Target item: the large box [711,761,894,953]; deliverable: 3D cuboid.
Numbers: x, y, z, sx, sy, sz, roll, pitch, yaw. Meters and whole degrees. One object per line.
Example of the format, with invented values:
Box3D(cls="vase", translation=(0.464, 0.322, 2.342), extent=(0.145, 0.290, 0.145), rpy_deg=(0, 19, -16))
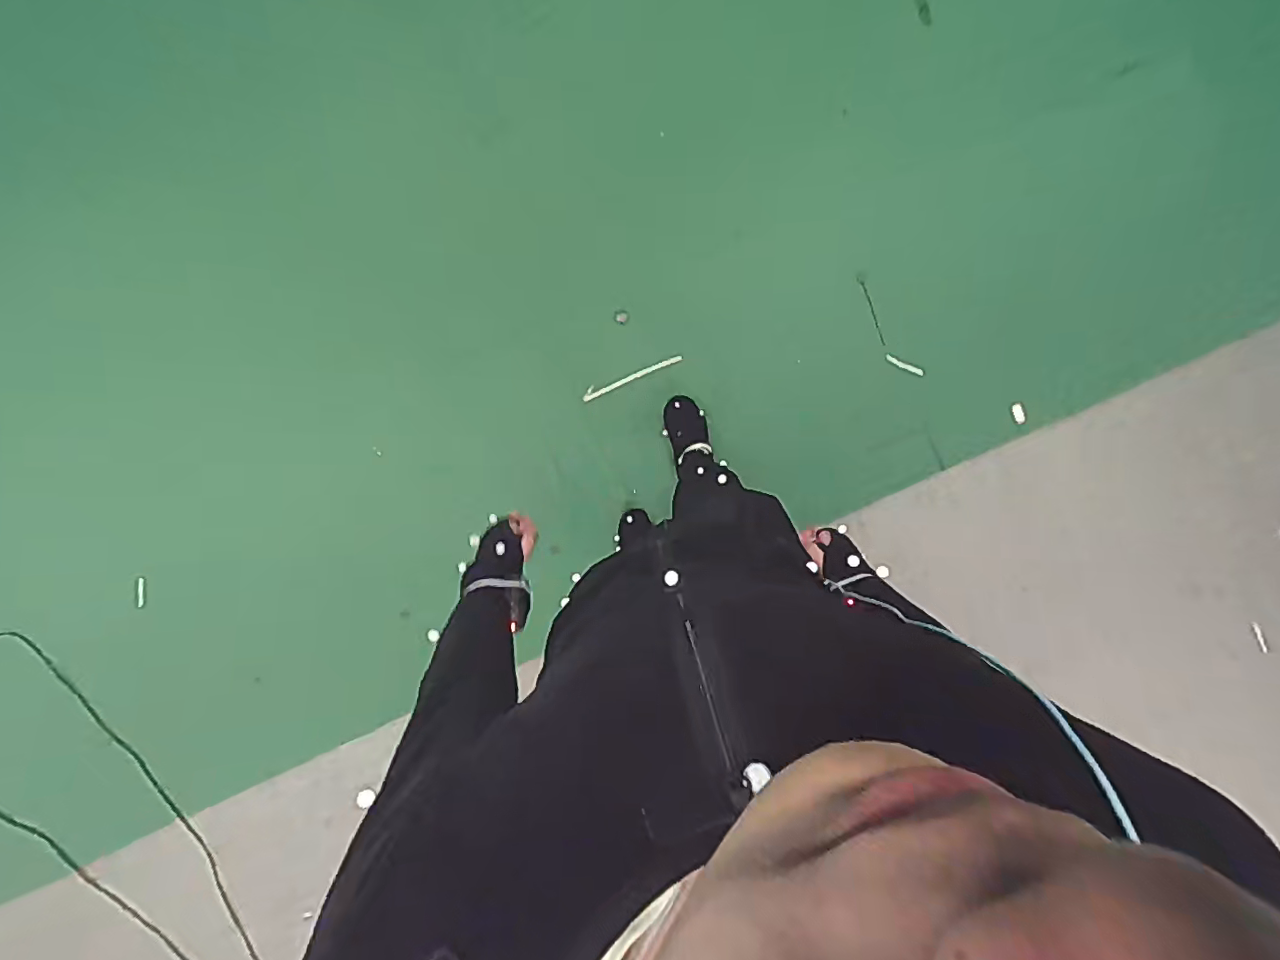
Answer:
Box3D(cls="large box", translation=(0.429, 1.030, 1.516), extent=(0.408, 0.320, 0.320), rpy_deg=(7, 92, -1))
